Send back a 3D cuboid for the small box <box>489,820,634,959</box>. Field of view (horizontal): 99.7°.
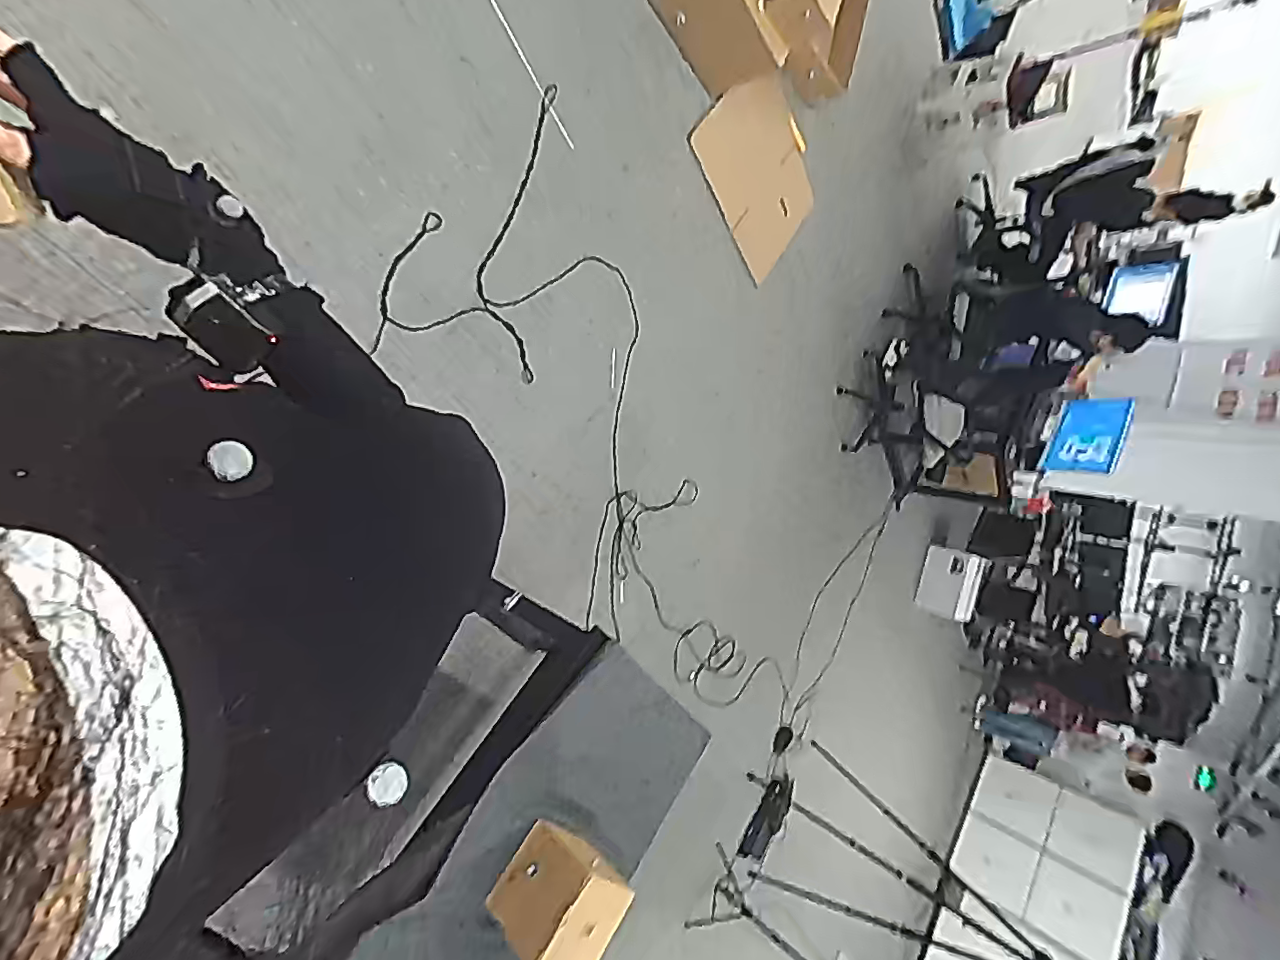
[{"bbox_3d":[-0.150,0.797,1.039,0.168,0.176,0.179,-53,130,-22],"label":"small box"}]
